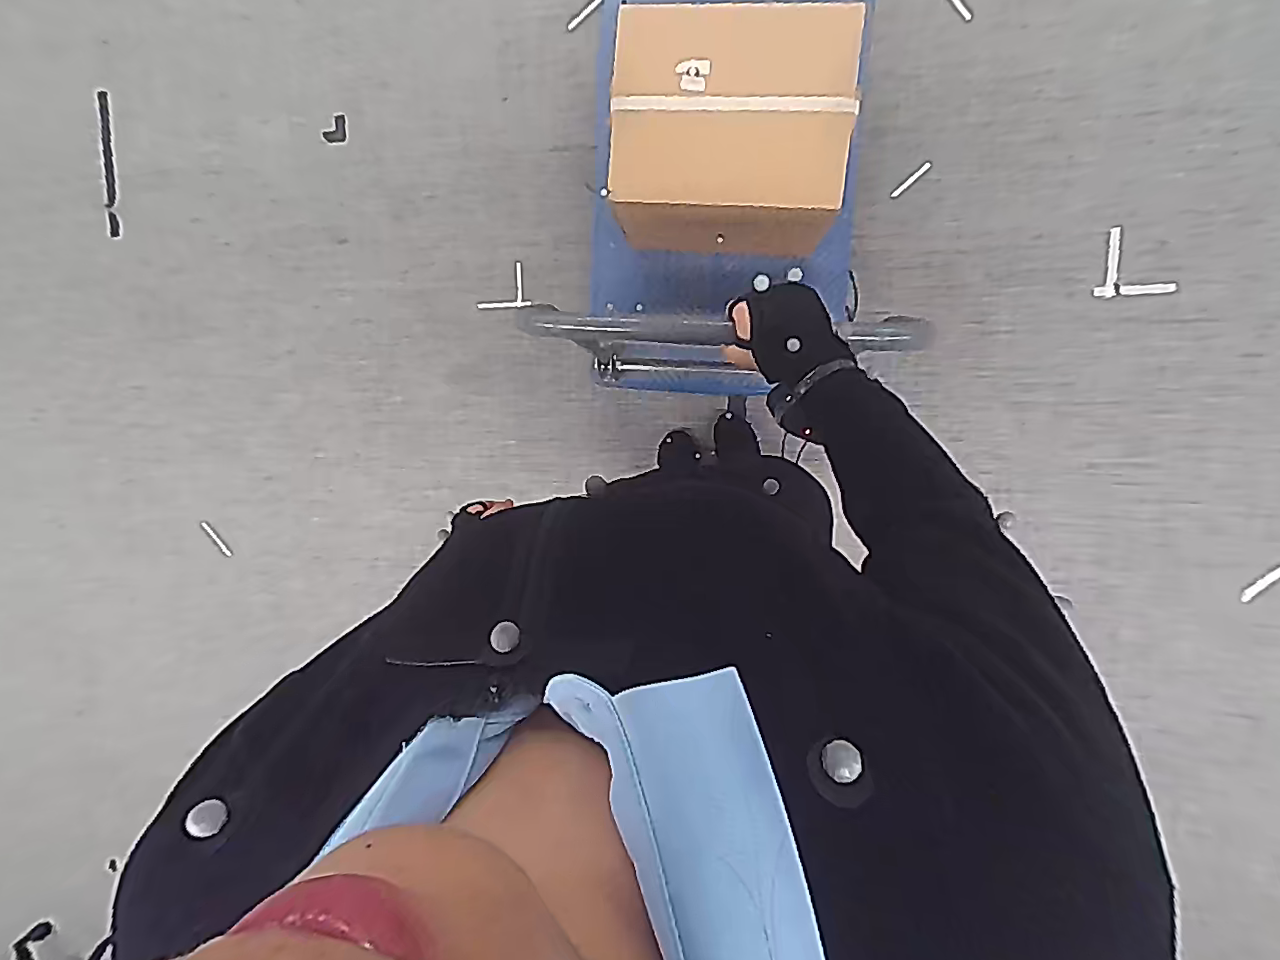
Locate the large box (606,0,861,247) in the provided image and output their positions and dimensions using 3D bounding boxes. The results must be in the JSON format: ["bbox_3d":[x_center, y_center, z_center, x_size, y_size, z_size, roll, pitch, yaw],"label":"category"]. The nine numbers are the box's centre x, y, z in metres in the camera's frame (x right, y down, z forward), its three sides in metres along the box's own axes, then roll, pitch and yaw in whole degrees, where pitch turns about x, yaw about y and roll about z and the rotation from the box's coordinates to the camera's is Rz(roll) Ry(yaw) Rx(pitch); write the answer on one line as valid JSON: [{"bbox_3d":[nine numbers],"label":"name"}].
[{"bbox_3d":[0.169,-0.651,1.042,0.408,0.320,0.320,5,98,8],"label":"large box"}]
